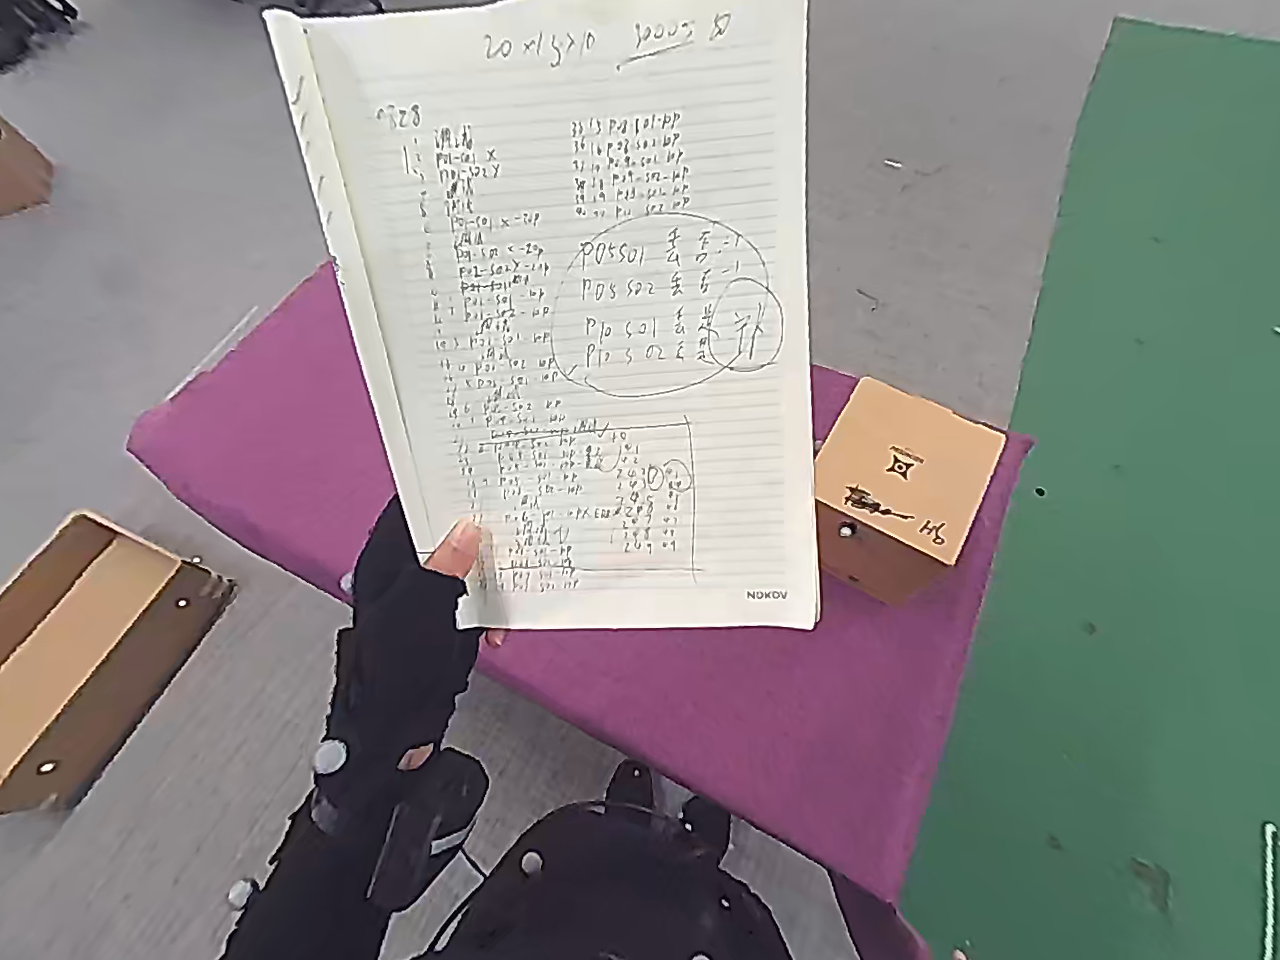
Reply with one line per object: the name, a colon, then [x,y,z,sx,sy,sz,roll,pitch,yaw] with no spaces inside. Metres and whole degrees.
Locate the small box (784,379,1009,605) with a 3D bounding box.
small box: [0.289,0.020,0.646,0.168,0.176,0.179,29,69,17]
